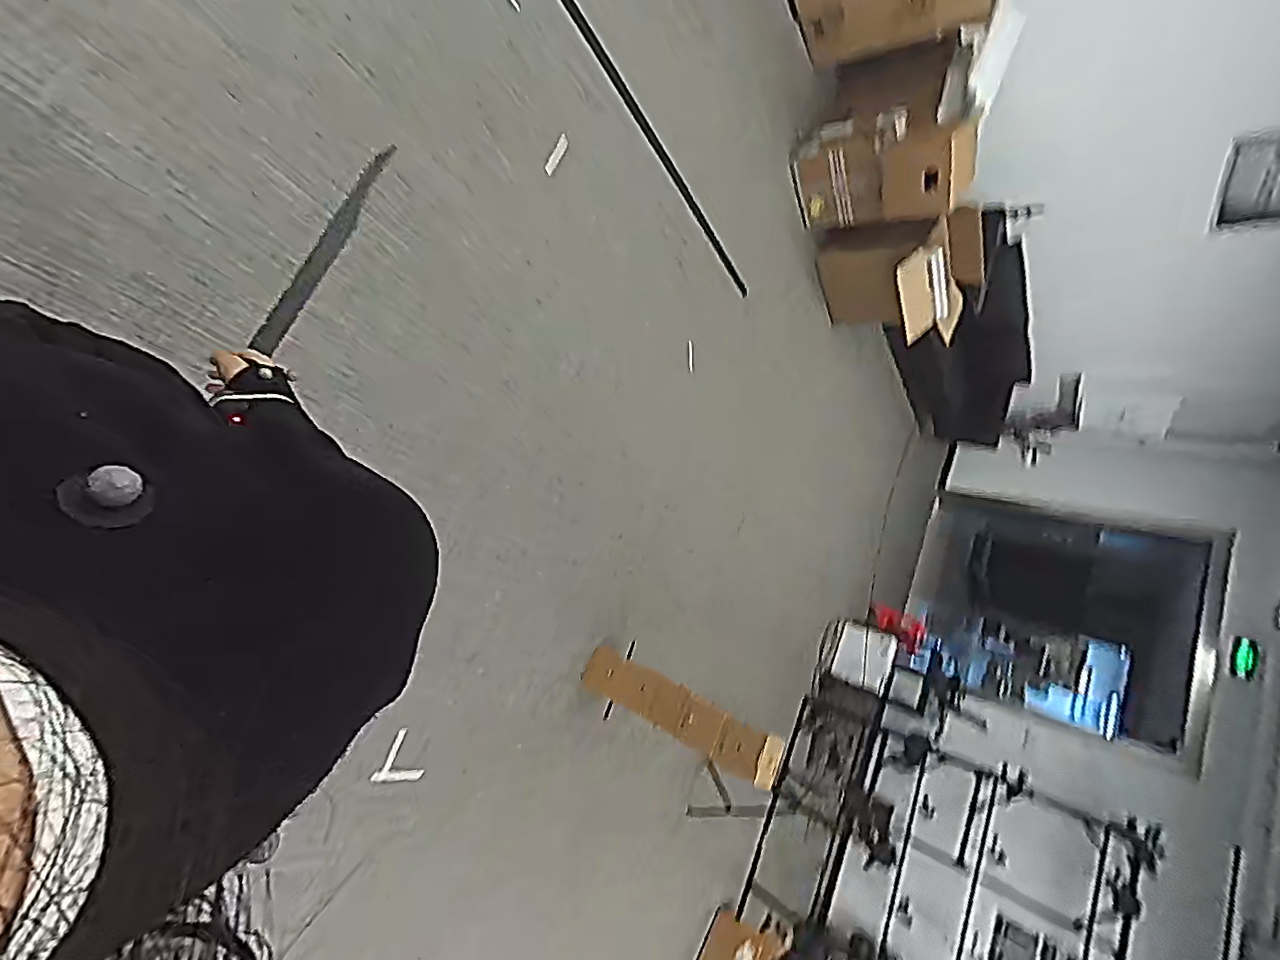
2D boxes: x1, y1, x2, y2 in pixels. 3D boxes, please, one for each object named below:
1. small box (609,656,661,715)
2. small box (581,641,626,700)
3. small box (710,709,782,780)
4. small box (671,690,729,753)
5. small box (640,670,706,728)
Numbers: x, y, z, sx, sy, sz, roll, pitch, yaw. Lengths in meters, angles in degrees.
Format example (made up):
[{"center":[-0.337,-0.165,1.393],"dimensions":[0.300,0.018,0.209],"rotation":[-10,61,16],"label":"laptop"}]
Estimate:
[{"center":[0.000,0.848,2.222],"dimensions":[0.168,0.176,0.179],"rotation":[49,61,-43],"label":"small box"},{"center":[-0.129,0.822,2.320],"dimensions":[0.168,0.176,0.179],"rotation":[46,64,-45],"label":"small box"},{"center":[0.374,0.934,1.916],"dimensions":[0.179,0.176,0.168],"rotation":[42,66,-44],"label":"small box"},{"center":[0.245,0.907,2.015],"dimensions":[0.179,0.176,0.168],"rotation":[45,63,-43],"label":"small box"},{"center":[0.127,0.874,2.125],"dimensions":[0.168,0.176,0.179],"rotation":[46,64,-44],"label":"small box"}]
